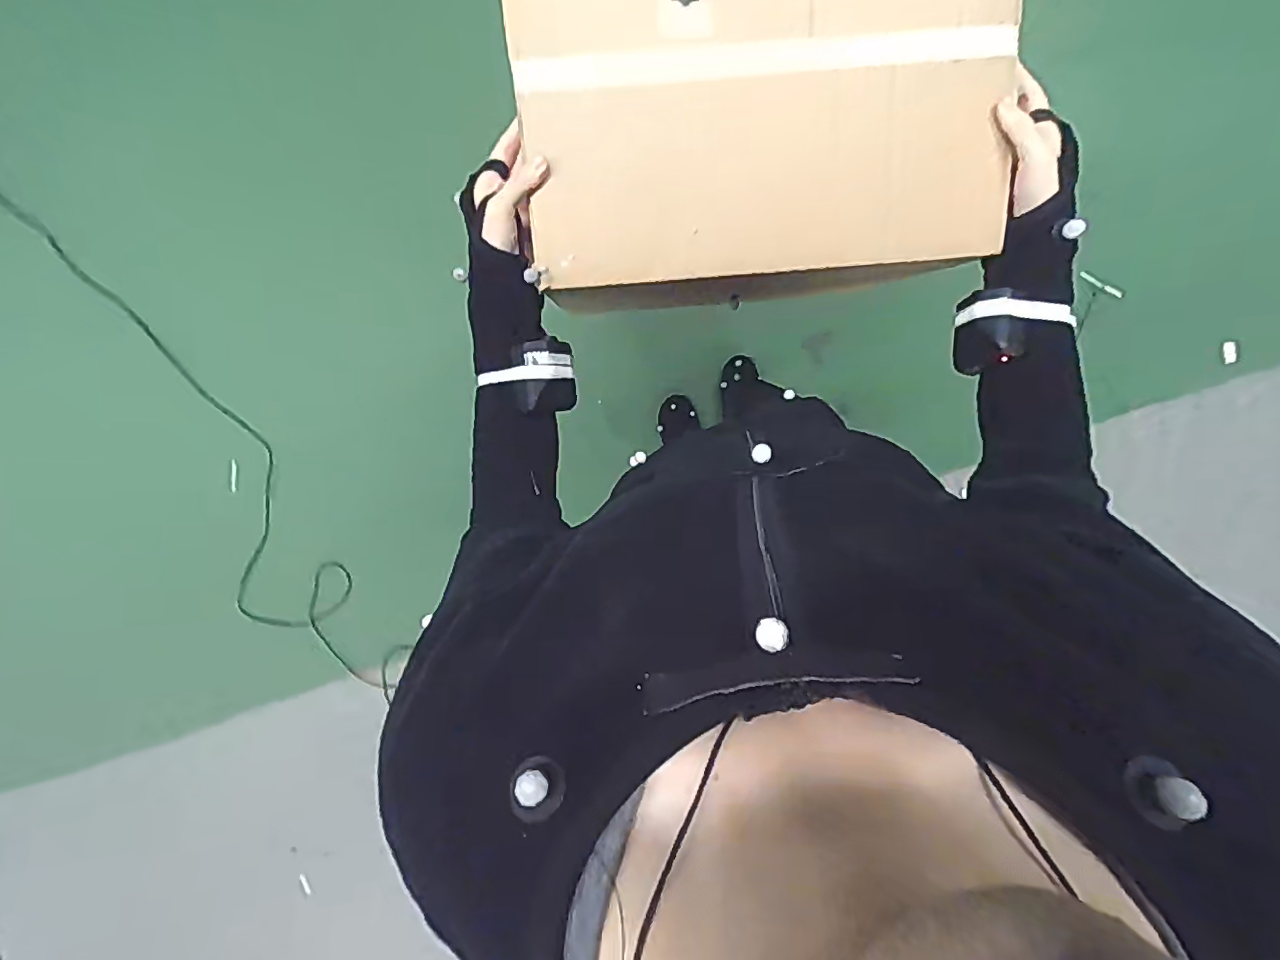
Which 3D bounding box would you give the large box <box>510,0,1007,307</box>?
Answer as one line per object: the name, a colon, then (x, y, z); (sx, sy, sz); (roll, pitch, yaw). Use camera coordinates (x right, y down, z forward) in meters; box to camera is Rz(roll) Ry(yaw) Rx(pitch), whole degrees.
large box: (0.097, -0.370, 0.587); (0.408, 0.320, 0.320); (-4, 103, 0)
